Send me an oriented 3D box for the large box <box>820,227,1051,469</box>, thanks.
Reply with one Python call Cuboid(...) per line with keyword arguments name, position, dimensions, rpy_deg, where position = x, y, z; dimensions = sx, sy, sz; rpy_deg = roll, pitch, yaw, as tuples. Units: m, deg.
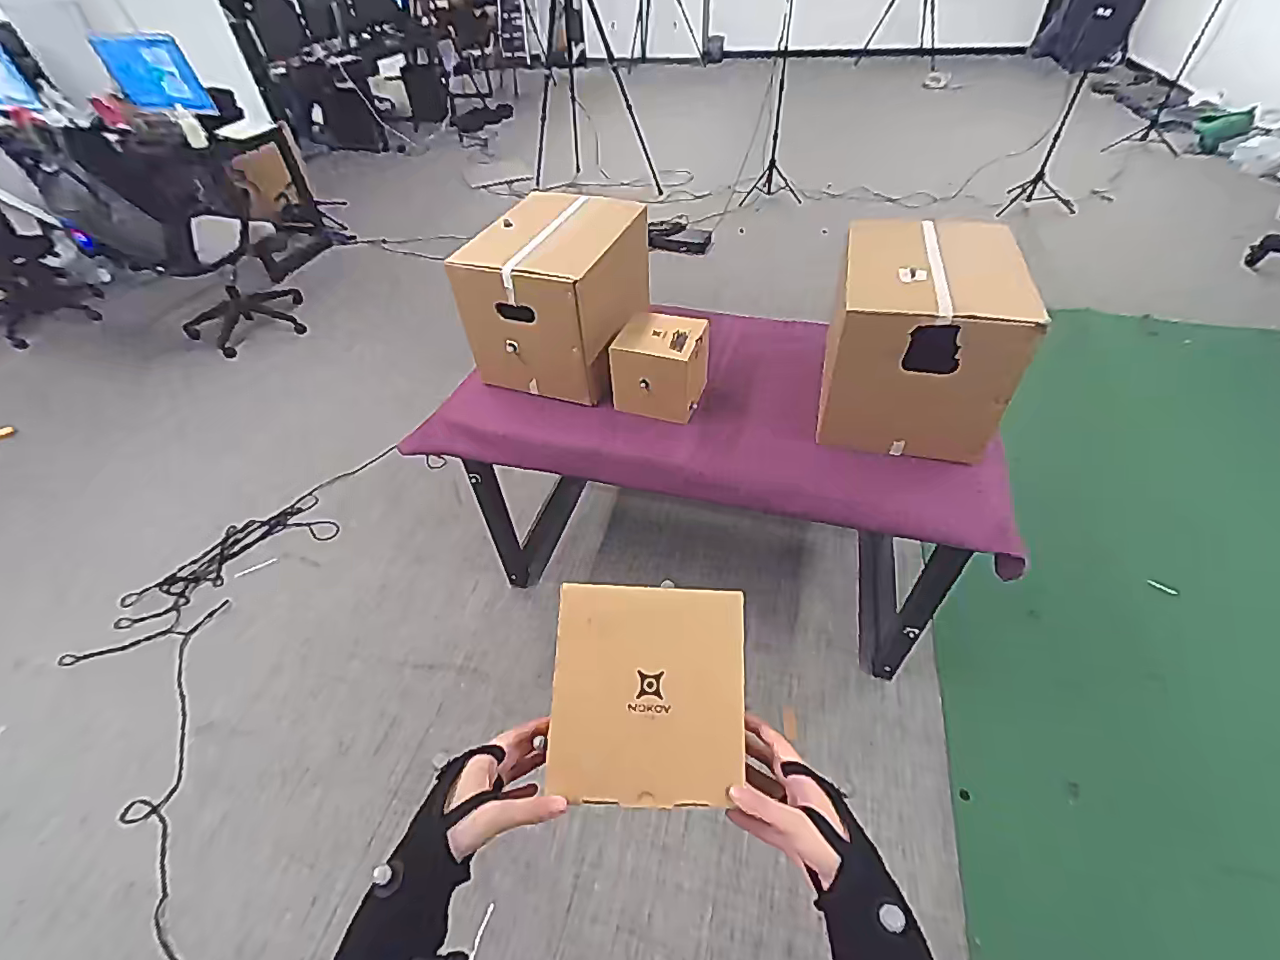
Cuboid(name="large box", position=(0.562, -0.284, 1.121), dimensions=(0.320, 0.320, 0.408), rpy_deg=(8, 47, 15))
